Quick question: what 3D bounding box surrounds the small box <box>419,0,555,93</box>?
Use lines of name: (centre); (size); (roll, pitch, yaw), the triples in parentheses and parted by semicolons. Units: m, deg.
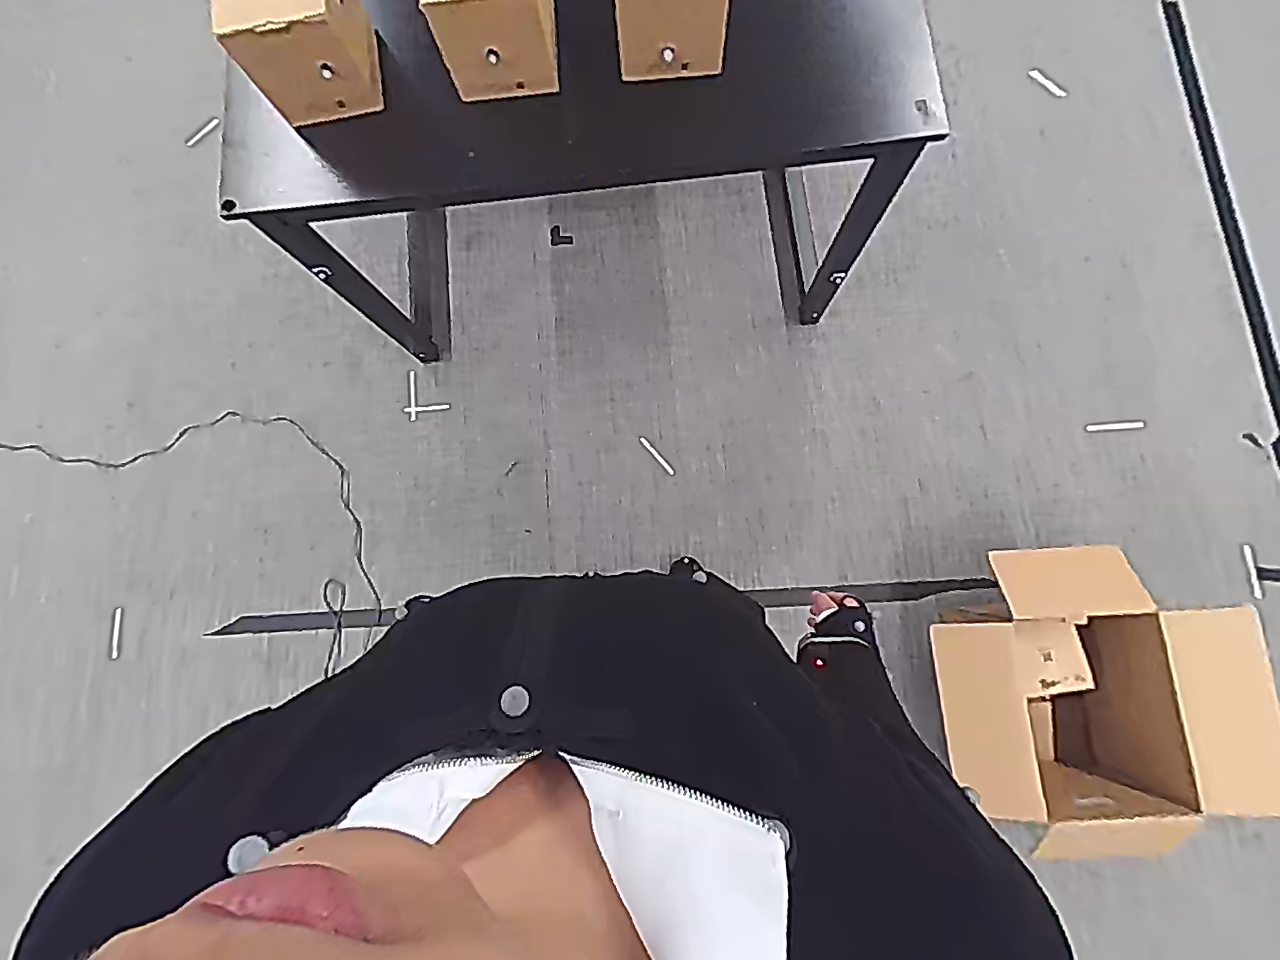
small box: (-0.231, -0.743, 0.845); (0.168, 0.176, 0.179); (-4, 81, 2)

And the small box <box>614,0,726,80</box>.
small box: (0.043, -0.769, 0.837); (0.168, 0.176, 0.179); (-2, 82, 3)

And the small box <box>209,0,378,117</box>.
small box: (-0.537, -0.713, 0.857); (0.168, 0.176, 0.179); (-10, 80, 0)
